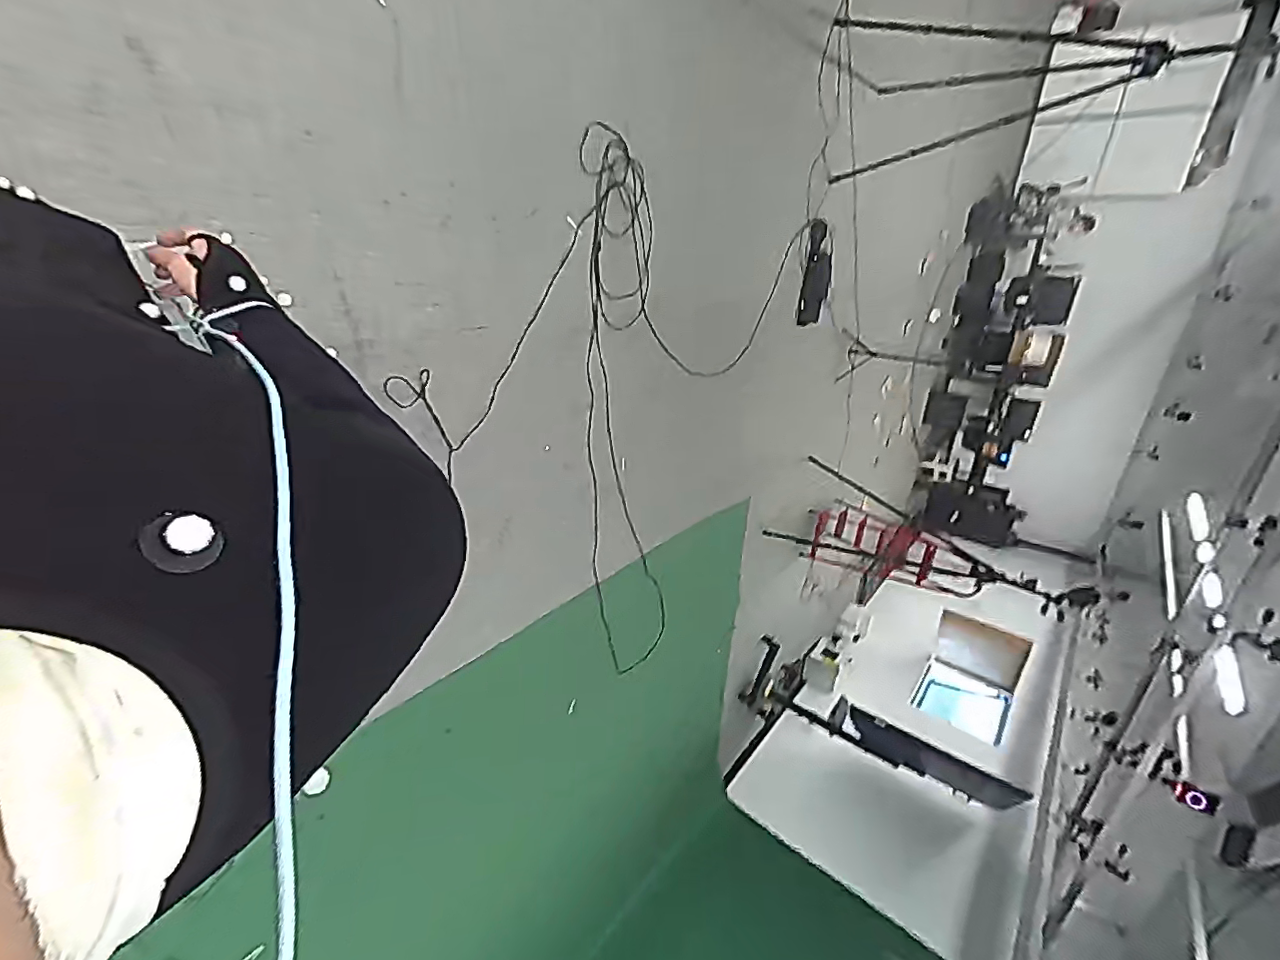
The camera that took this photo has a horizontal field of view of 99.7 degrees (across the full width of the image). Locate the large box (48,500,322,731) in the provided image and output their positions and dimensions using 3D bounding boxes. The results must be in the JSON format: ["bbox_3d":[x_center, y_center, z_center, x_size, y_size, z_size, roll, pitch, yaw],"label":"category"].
[{"bbox_3d":[-1.073,0.292,1.306,0.408,0.320,0.320,-26,124,-43],"label":"large box"}]
